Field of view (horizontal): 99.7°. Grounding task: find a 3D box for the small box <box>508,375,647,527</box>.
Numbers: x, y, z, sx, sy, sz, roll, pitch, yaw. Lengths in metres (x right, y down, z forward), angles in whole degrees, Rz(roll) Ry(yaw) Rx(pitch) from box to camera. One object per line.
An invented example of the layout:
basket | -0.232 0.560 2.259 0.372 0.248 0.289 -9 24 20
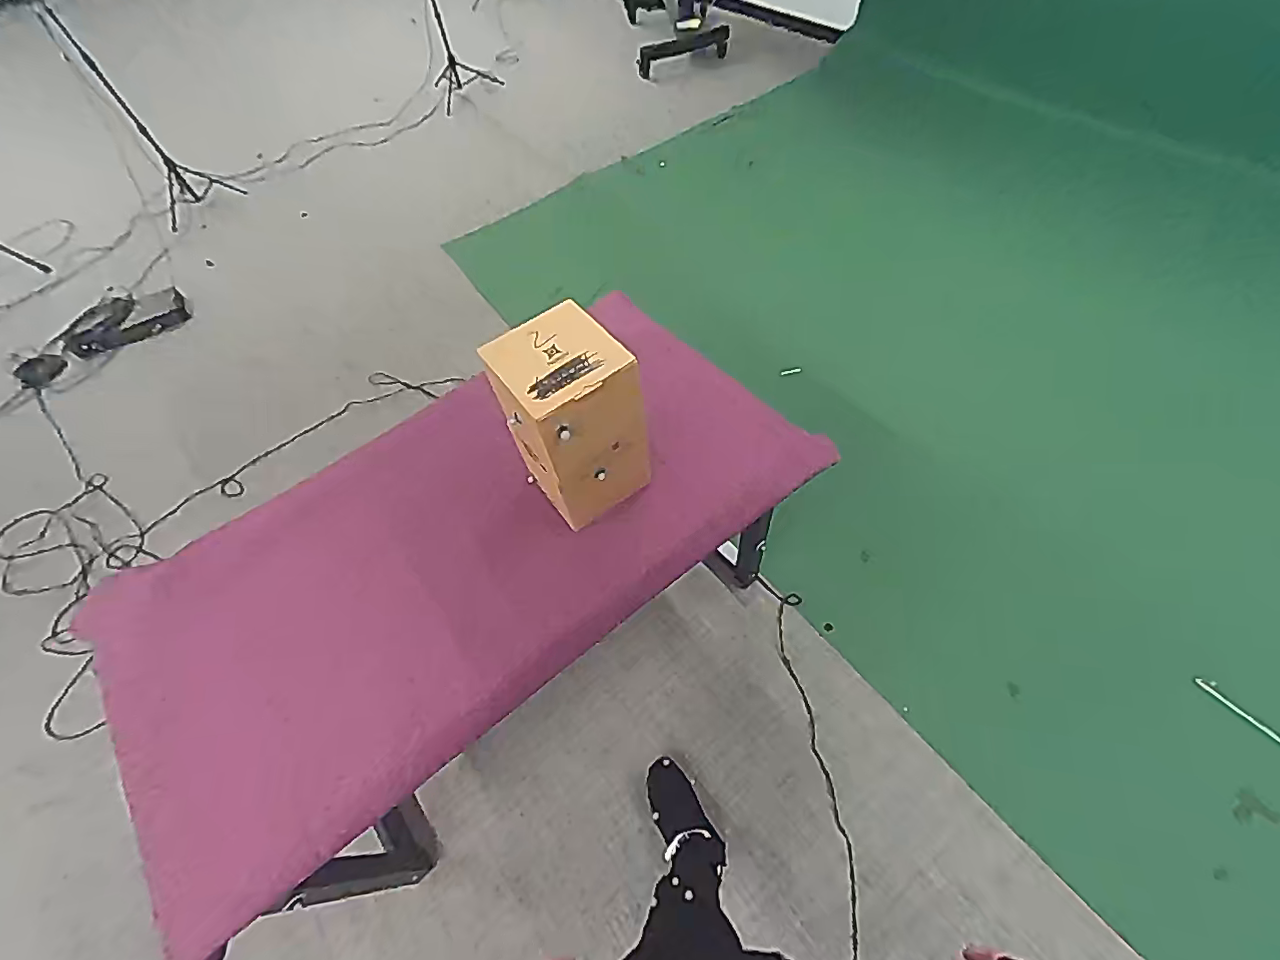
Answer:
small box | -0.102 -0.046 0.965 0.179 0.176 0.168 -34 61 -16
